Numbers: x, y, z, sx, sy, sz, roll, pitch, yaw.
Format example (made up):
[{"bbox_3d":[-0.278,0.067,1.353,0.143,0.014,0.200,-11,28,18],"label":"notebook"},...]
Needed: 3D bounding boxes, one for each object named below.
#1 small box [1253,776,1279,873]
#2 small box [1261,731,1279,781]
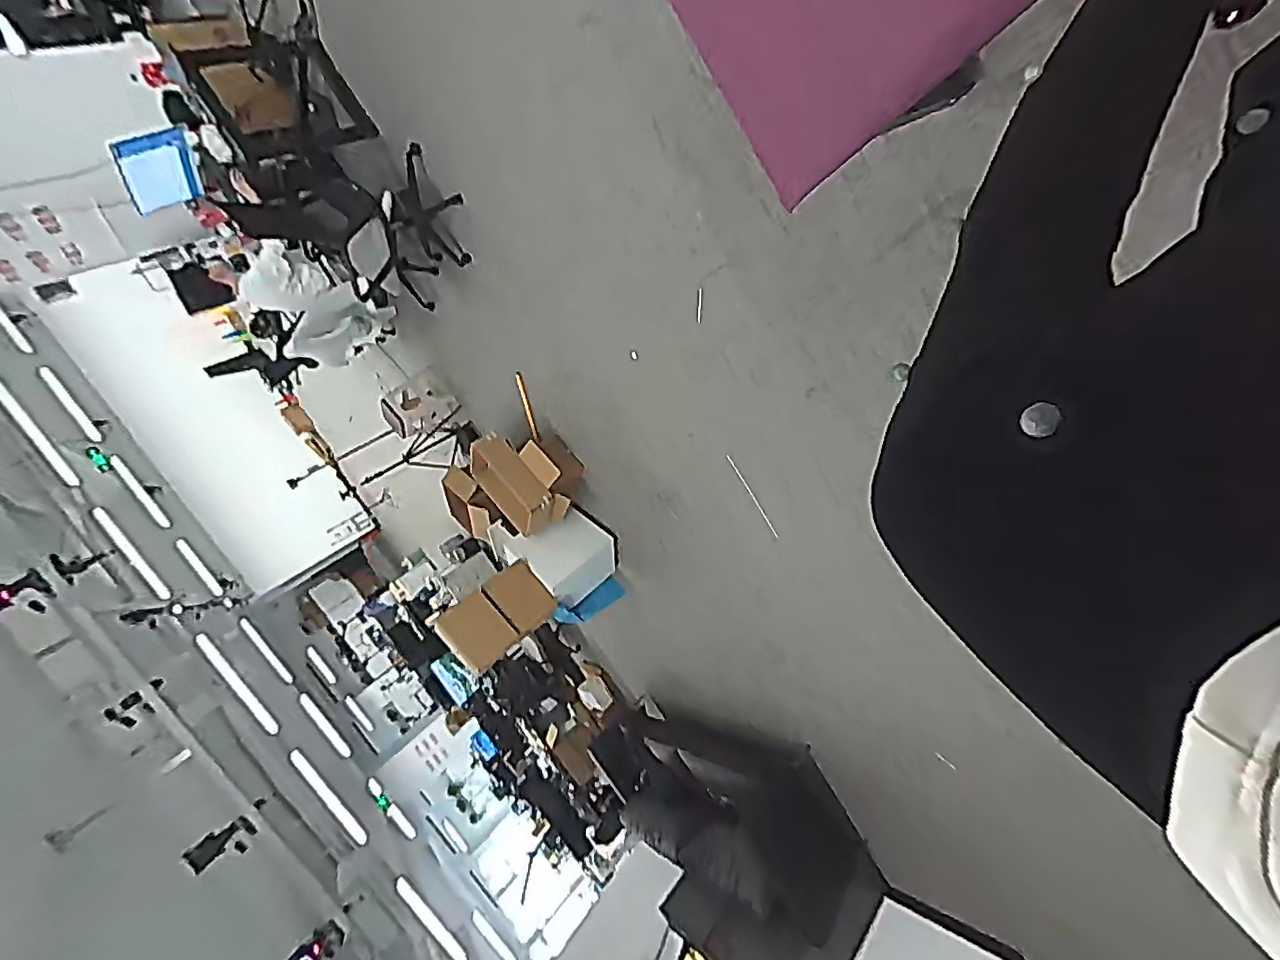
[{"bbox_3d":[1.671,0.870,1.331,0.179,0.176,0.168,-19,105,56],"label":"small box"},{"bbox_3d":[1.784,0.792,1.416,0.179,0.176,0.168,-16,108,57],"label":"small box"}]
